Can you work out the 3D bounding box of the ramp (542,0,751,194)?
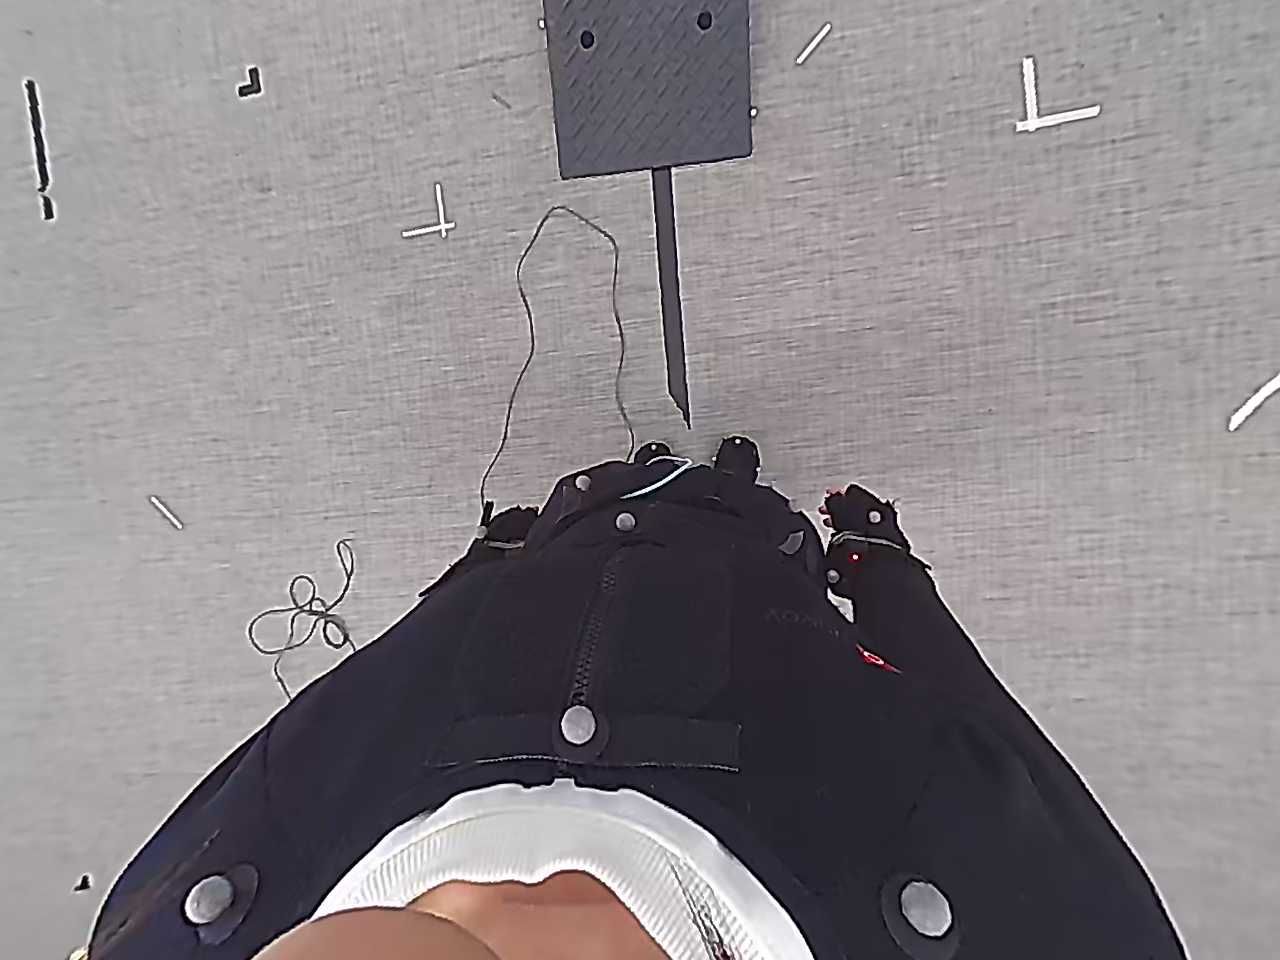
[{"bbox_3d":[-0.005,-1.257,1.288,0.509,0.206,0.991,-5,94,8],"label":"ramp"}]
